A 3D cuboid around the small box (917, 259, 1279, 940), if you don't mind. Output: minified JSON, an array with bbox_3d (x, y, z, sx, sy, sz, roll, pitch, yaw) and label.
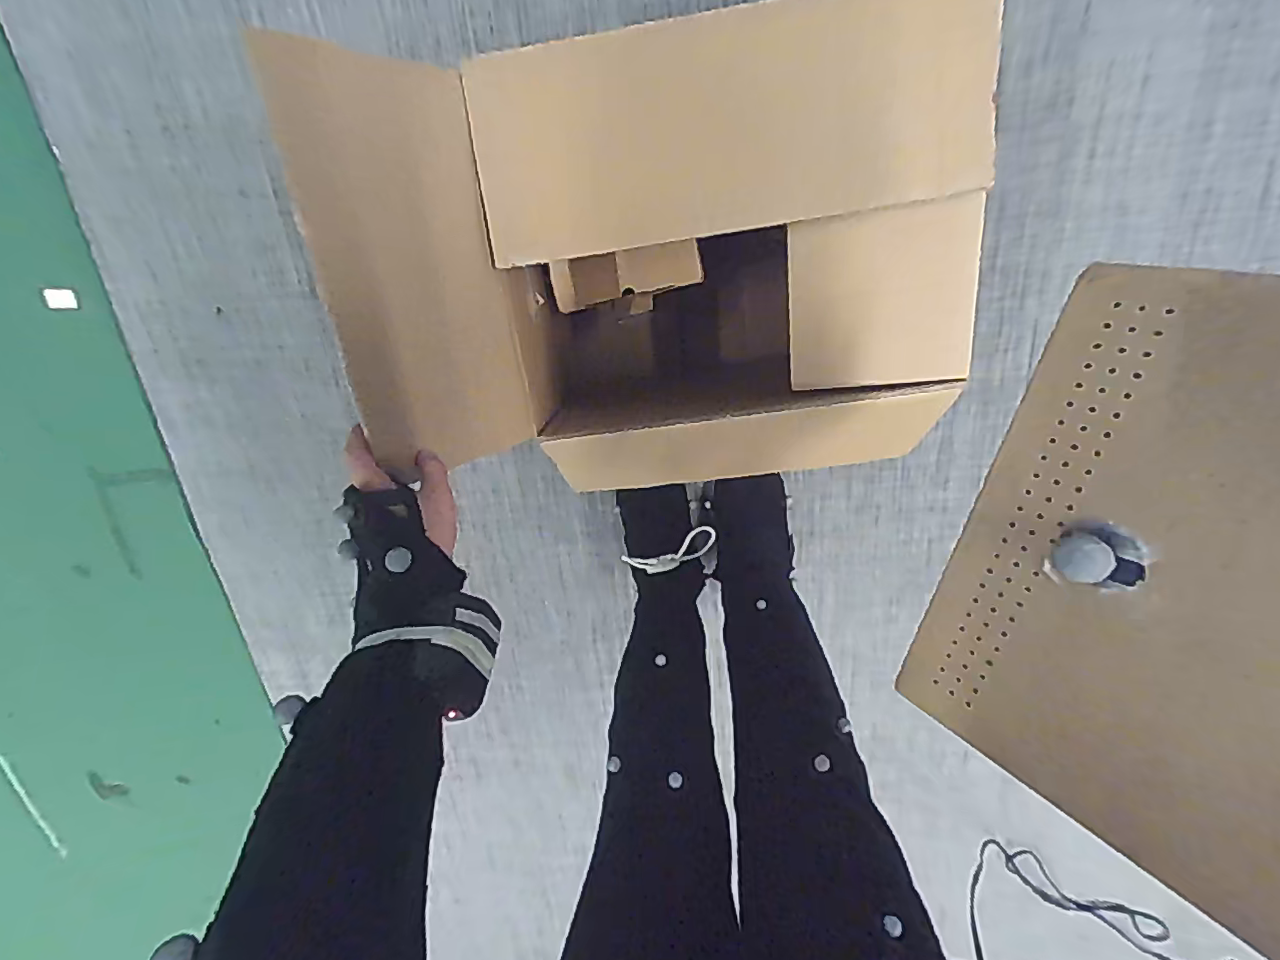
[{"bbox_3d":[0.235,0.033,0.197,0.168,0.176,0.179,-3,115,-38],"label":"small box"}]
